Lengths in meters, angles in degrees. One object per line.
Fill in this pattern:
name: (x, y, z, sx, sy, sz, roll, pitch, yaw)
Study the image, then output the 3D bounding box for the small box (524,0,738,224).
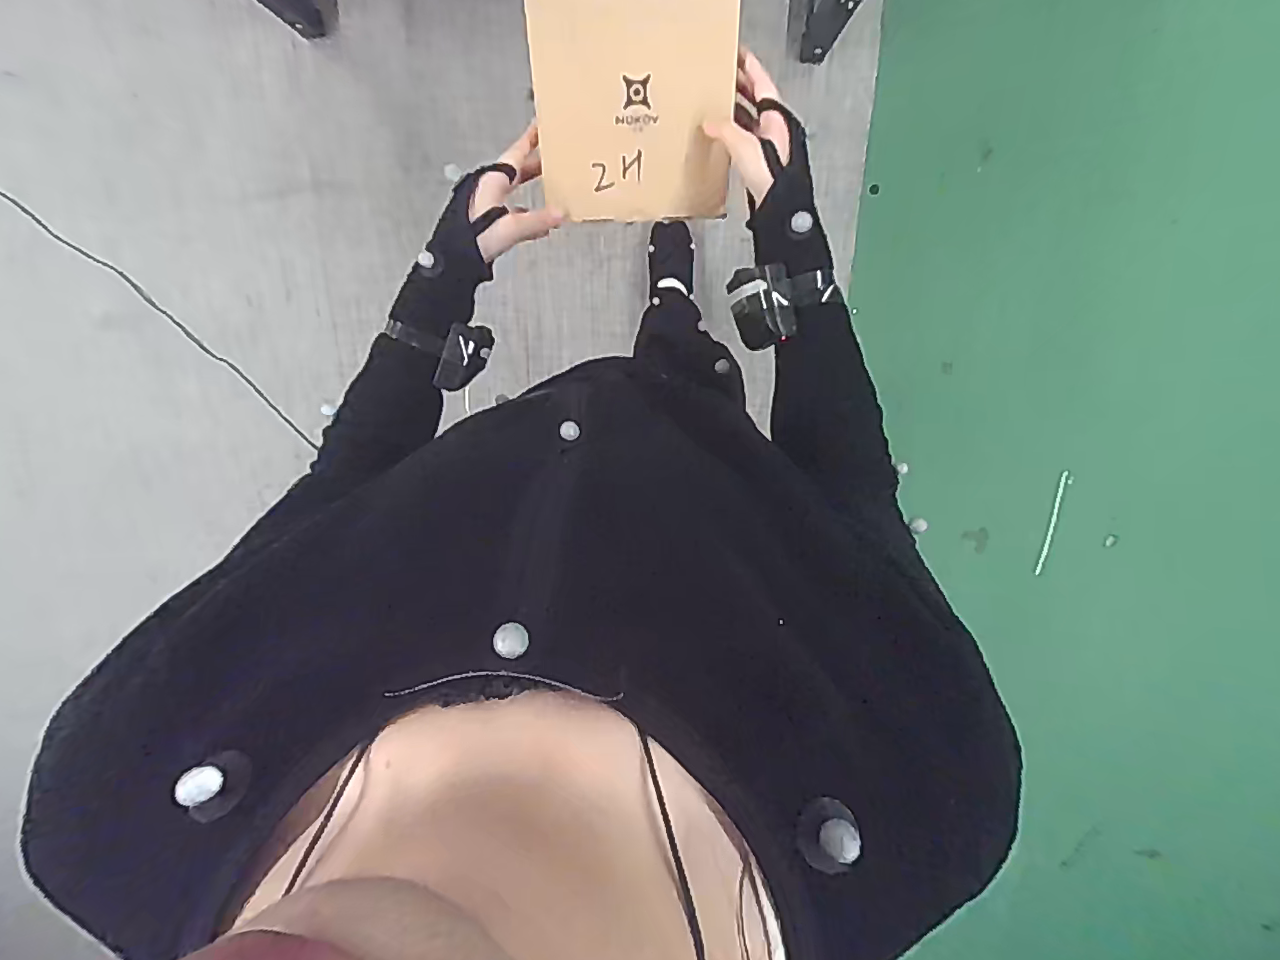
small box: (-0.013, -0.348, 0.508, 0.168, 0.176, 0.179, -3, 124, -3)
